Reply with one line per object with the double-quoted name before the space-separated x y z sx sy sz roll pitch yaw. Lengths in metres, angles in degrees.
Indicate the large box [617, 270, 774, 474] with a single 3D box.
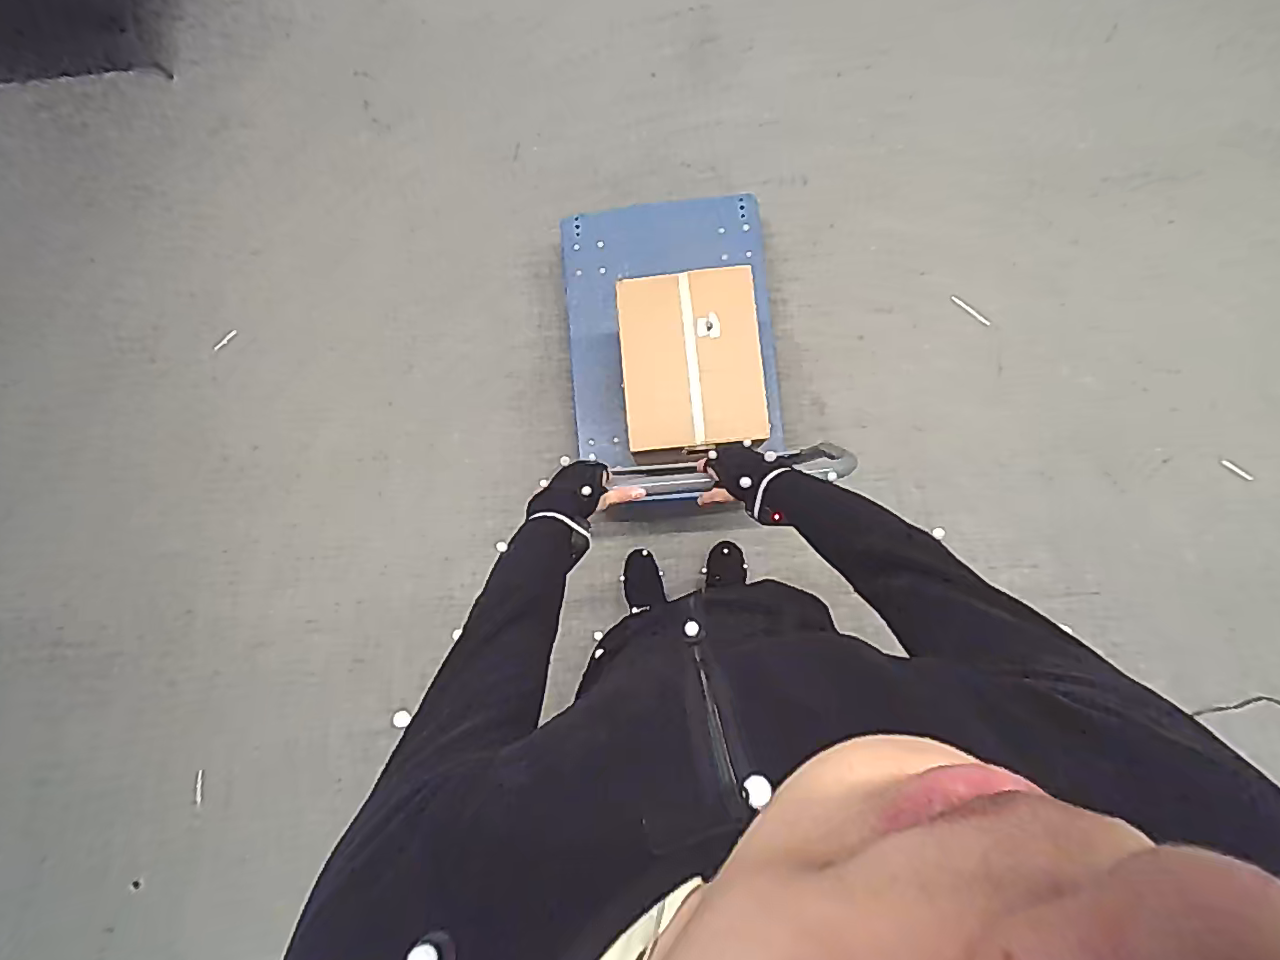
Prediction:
"large box" 0.130 -0.245 1.347 0.320 0.320 0.408 -5 83 2
